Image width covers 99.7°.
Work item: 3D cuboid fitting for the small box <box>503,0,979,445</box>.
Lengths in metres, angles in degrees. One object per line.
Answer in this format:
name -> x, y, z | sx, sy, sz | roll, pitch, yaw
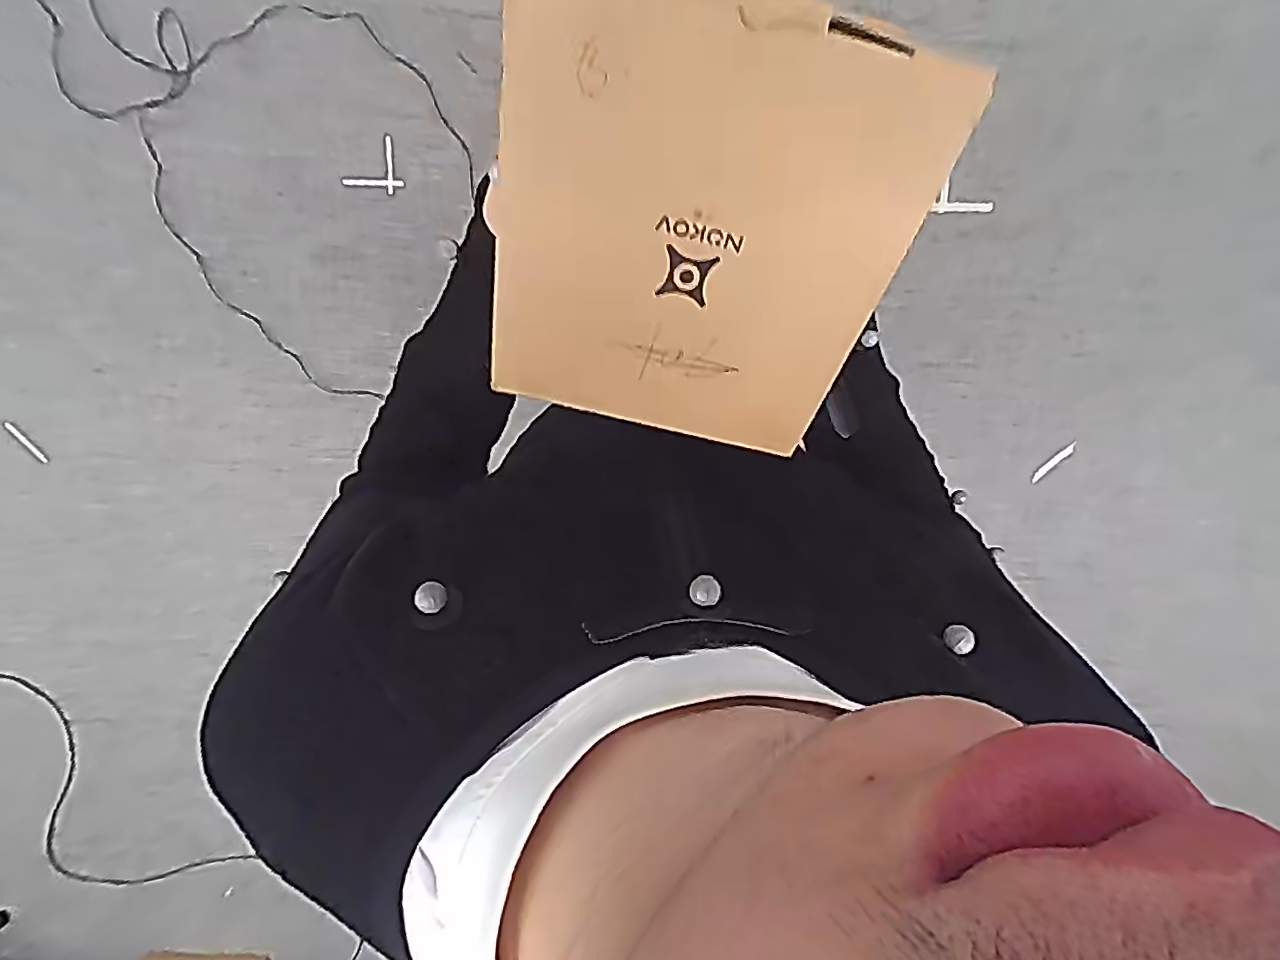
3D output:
small box -> 0.031, -0.151, 0.297 | 0.168, 0.176, 0.179 | 13, 135, -4
